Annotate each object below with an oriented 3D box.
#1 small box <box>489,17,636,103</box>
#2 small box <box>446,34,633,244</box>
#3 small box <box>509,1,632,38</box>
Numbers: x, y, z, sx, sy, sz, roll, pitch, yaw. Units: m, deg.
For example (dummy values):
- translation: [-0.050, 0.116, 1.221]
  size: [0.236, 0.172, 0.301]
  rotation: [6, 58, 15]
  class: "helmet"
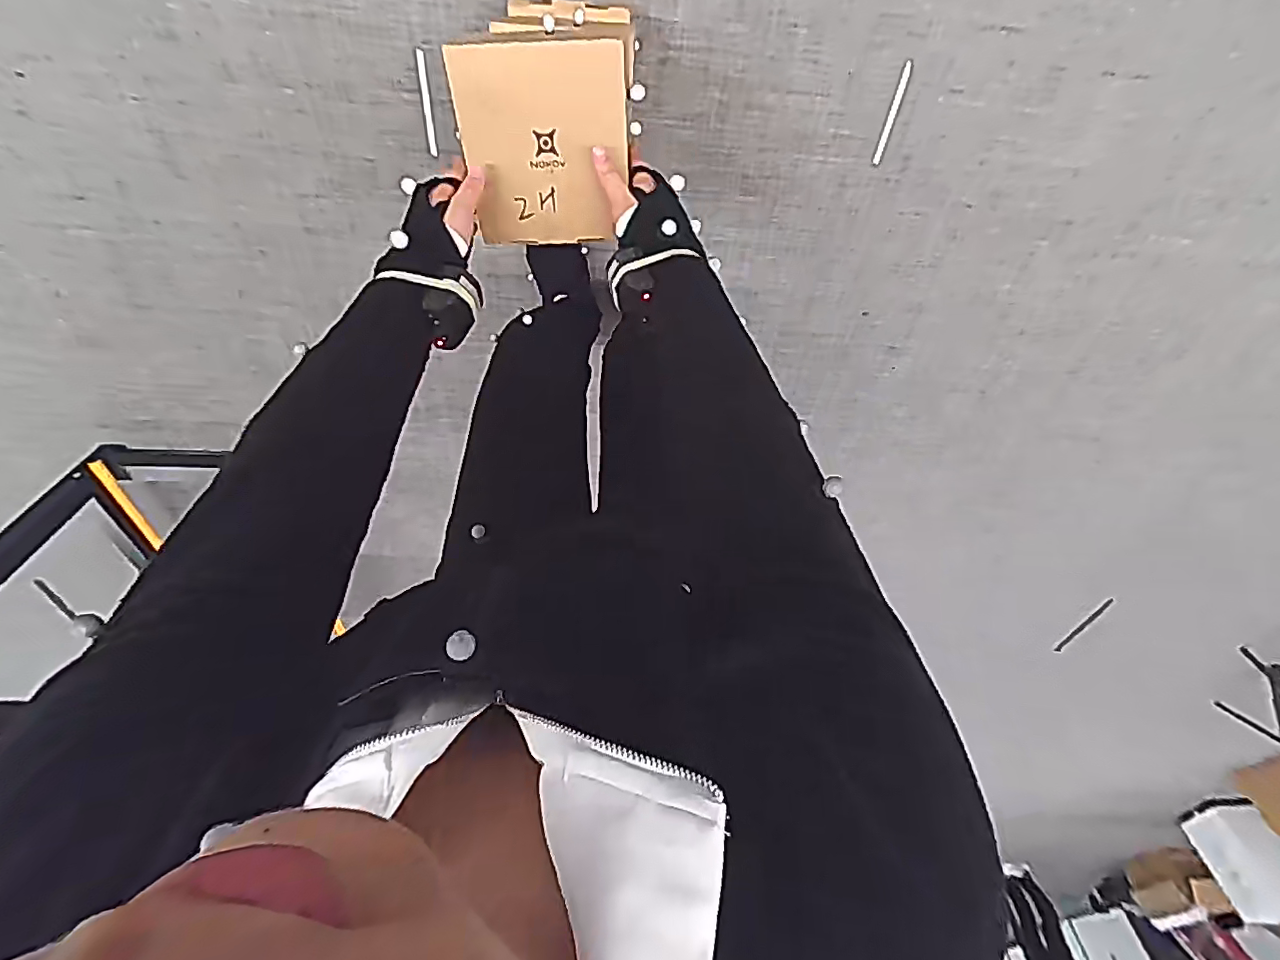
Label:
- translation: [-0.093, -0.490, 0.719]
  size: [0.168, 0.176, 0.179]
  rotation: [3, 132, -3]
  class: "small box"
- translation: [-0.093, -0.377, 0.596]
  size: [0.168, 0.176, 0.179]
  rotation: [0, 132, 1]
  class: "small box"
- translation: [-0.100, -0.613, 0.829]
  size: [0.168, 0.176, 0.179]
  rotation: [2, 134, -2]
  class: "small box"
